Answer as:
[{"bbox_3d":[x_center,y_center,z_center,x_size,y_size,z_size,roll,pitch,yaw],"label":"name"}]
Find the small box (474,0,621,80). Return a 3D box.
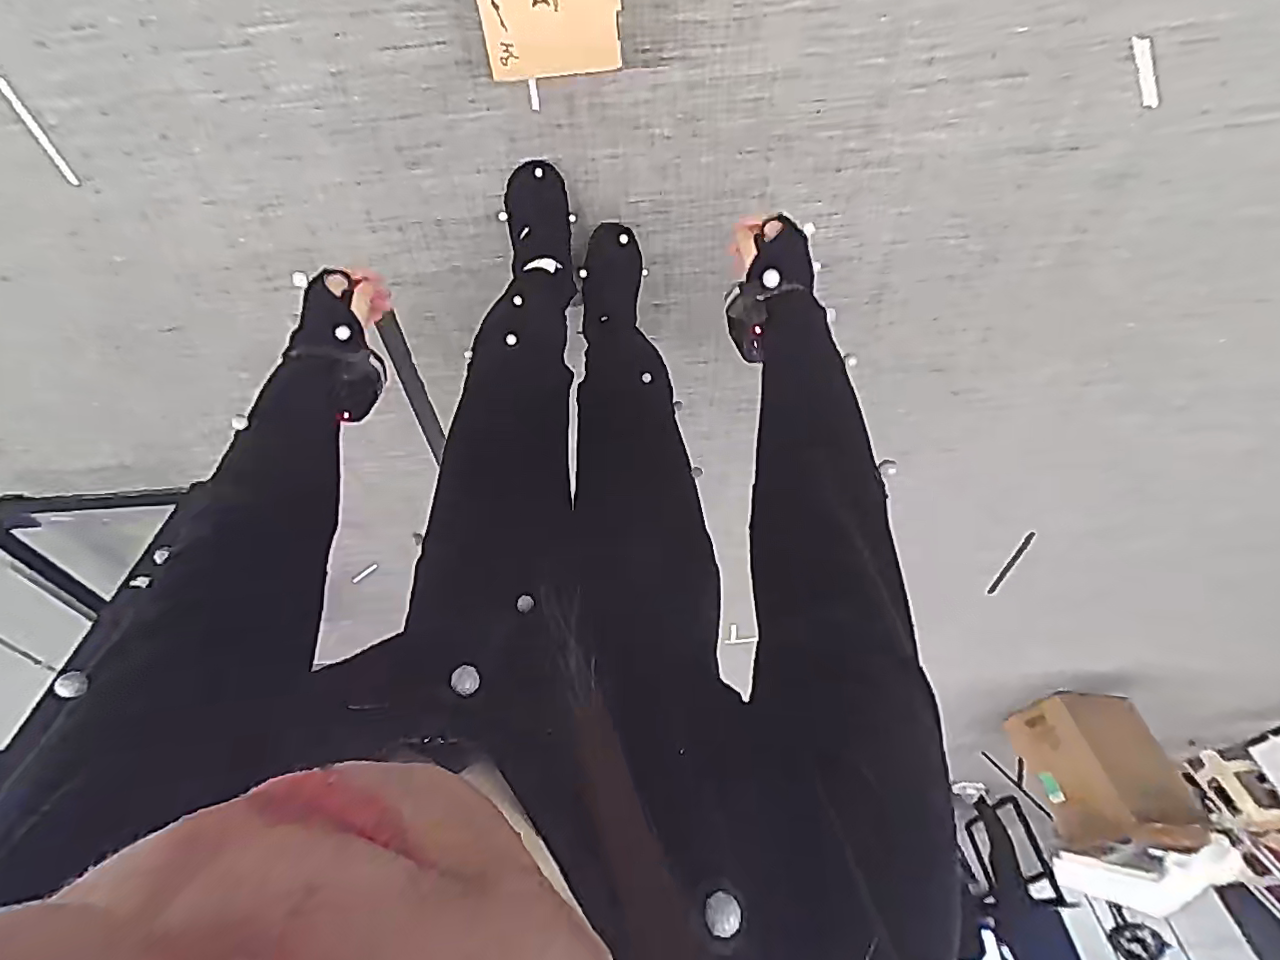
[{"bbox_3d":[-0.123,-0.650,0.711,0.179,0.176,0.168,-5,136,0],"label":"small box"}]
